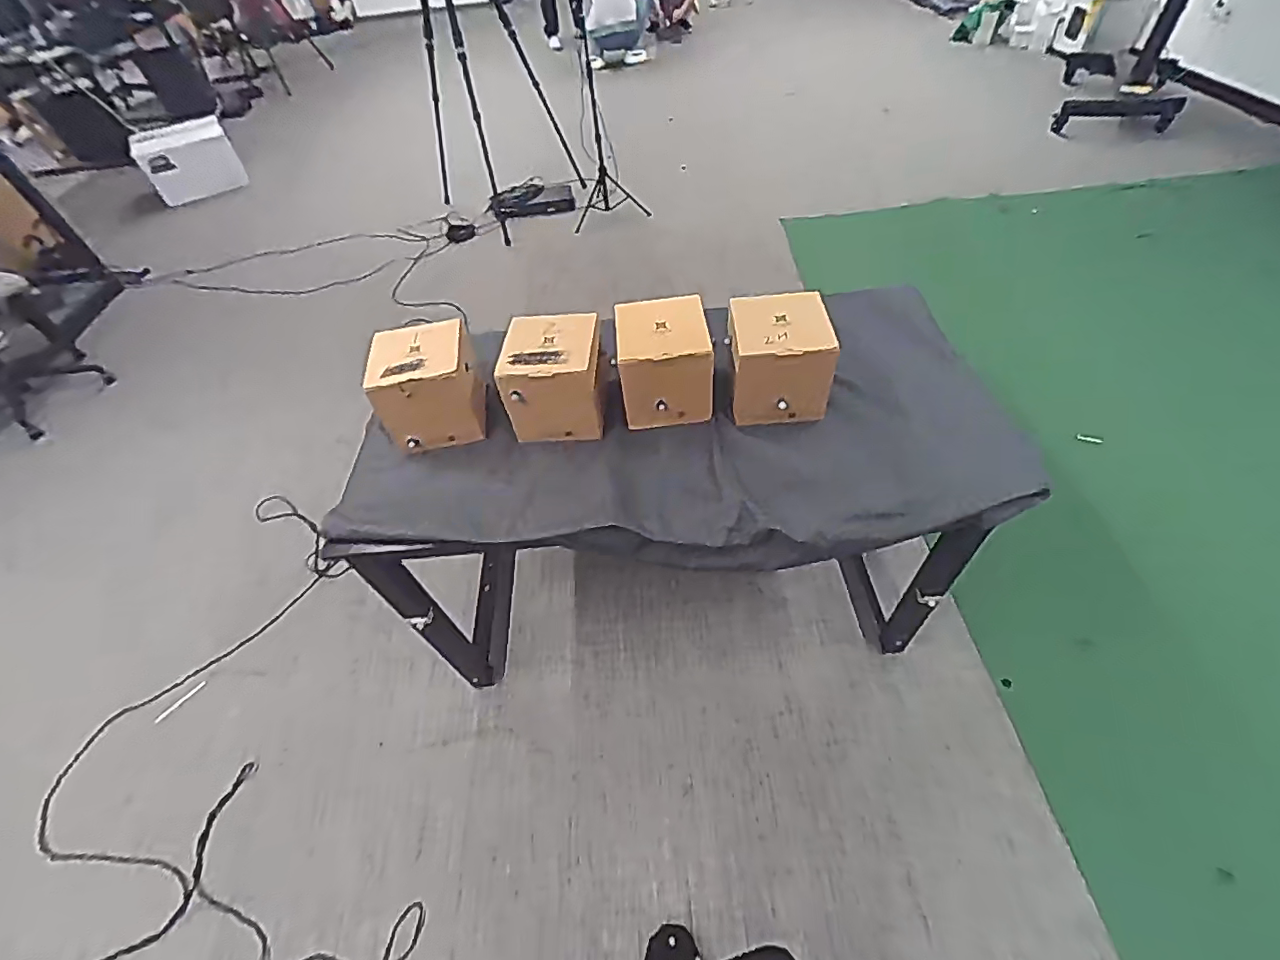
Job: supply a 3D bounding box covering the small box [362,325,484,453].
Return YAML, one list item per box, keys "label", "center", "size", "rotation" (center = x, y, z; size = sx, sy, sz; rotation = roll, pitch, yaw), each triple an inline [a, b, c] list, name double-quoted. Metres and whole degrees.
- label: "small box"
  center: [-0.406, -0.168, 1.044]
  size: [0.168, 0.176, 0.179]
  rotation: [-11, 49, -4]
